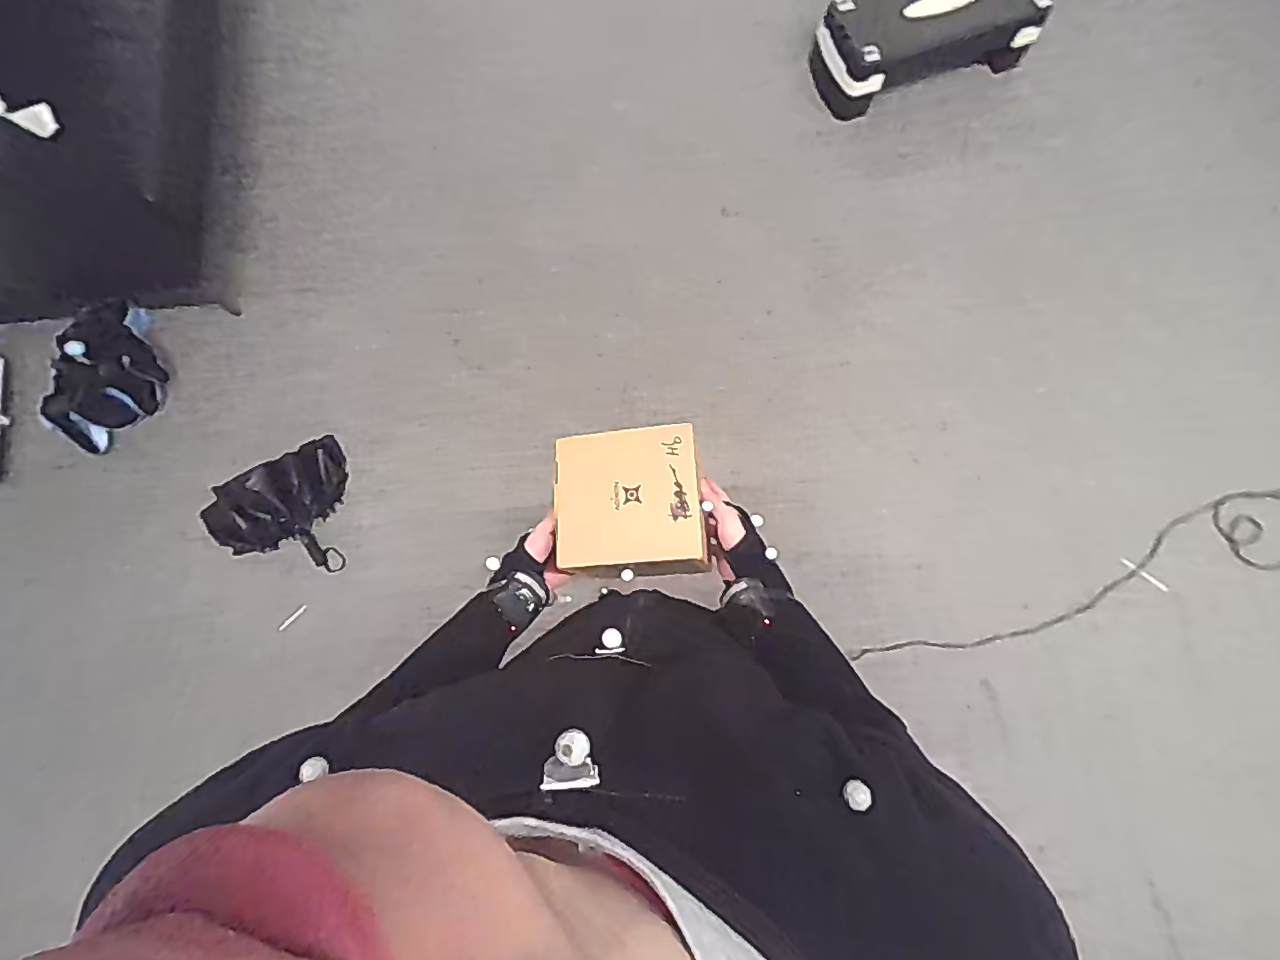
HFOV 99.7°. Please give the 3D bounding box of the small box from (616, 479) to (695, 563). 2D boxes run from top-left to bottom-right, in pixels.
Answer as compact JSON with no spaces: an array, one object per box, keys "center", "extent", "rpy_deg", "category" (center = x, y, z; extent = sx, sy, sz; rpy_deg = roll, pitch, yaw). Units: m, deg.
[{"center":[0.036,0.107,1.351],"extent":[0.168,0.176,0.179],"rpy_deg":[-10,81,0],"category":"small box"}]
